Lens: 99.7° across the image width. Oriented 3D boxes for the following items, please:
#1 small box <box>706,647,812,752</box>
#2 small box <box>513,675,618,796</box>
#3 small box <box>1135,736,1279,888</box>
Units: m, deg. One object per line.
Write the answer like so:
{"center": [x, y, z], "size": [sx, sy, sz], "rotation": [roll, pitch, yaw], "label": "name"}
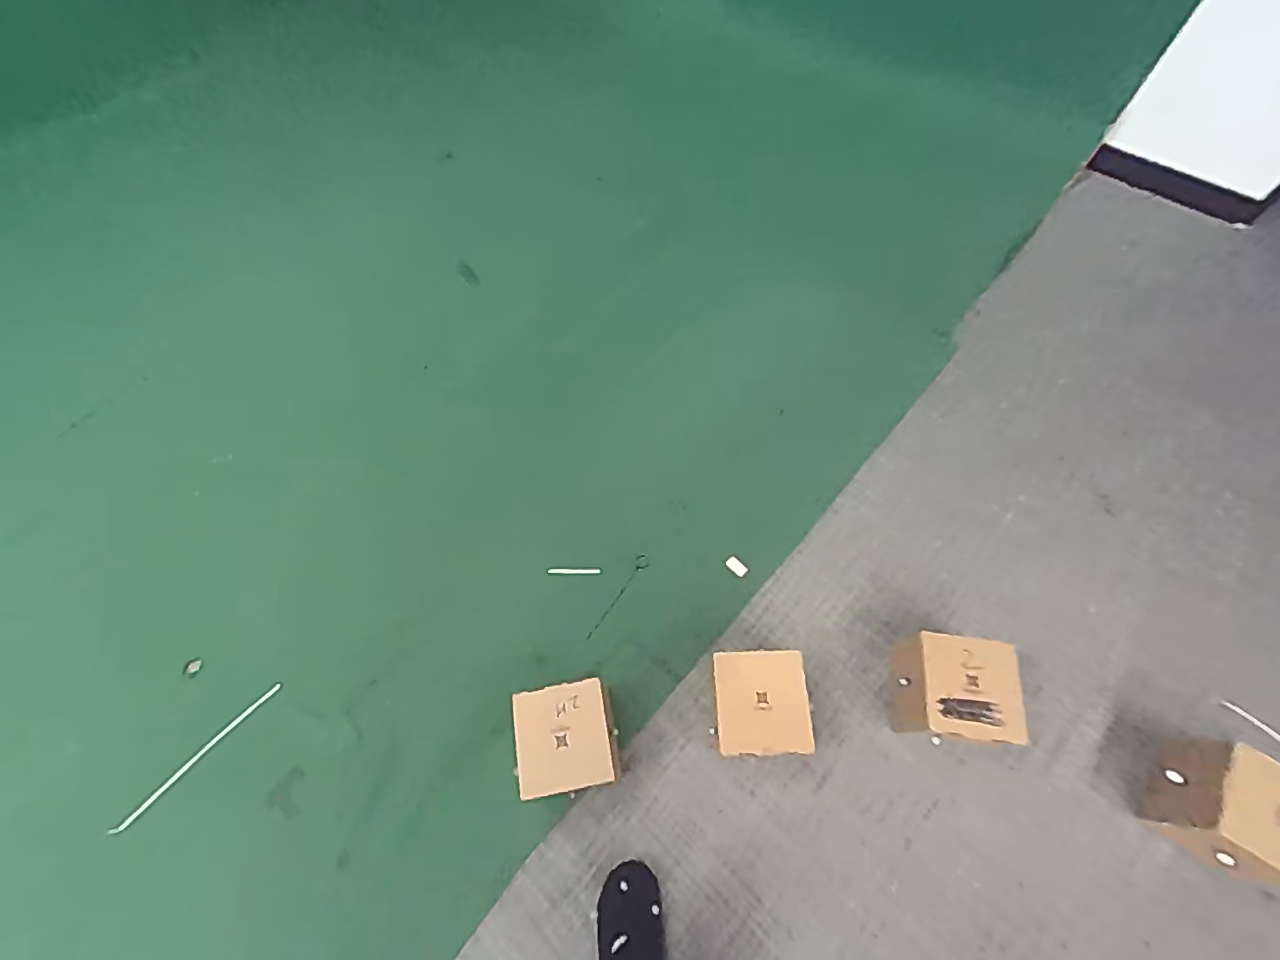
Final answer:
{"center": [0.220, 0.428, 1.050], "size": [0.168, 0.176, 0.179], "rotation": [-2, 64, 2], "label": "small box"}
{"center": [-0.138, 0.485, 1.036], "size": [0.168, 0.176, 0.179], "rotation": [-10, 63, -3], "label": "small box"}
{"center": [1.025, 0.574, 0.937], "size": [0.179, 0.176, 0.168], "rotation": [32, 70, 17], "label": "small box"}
